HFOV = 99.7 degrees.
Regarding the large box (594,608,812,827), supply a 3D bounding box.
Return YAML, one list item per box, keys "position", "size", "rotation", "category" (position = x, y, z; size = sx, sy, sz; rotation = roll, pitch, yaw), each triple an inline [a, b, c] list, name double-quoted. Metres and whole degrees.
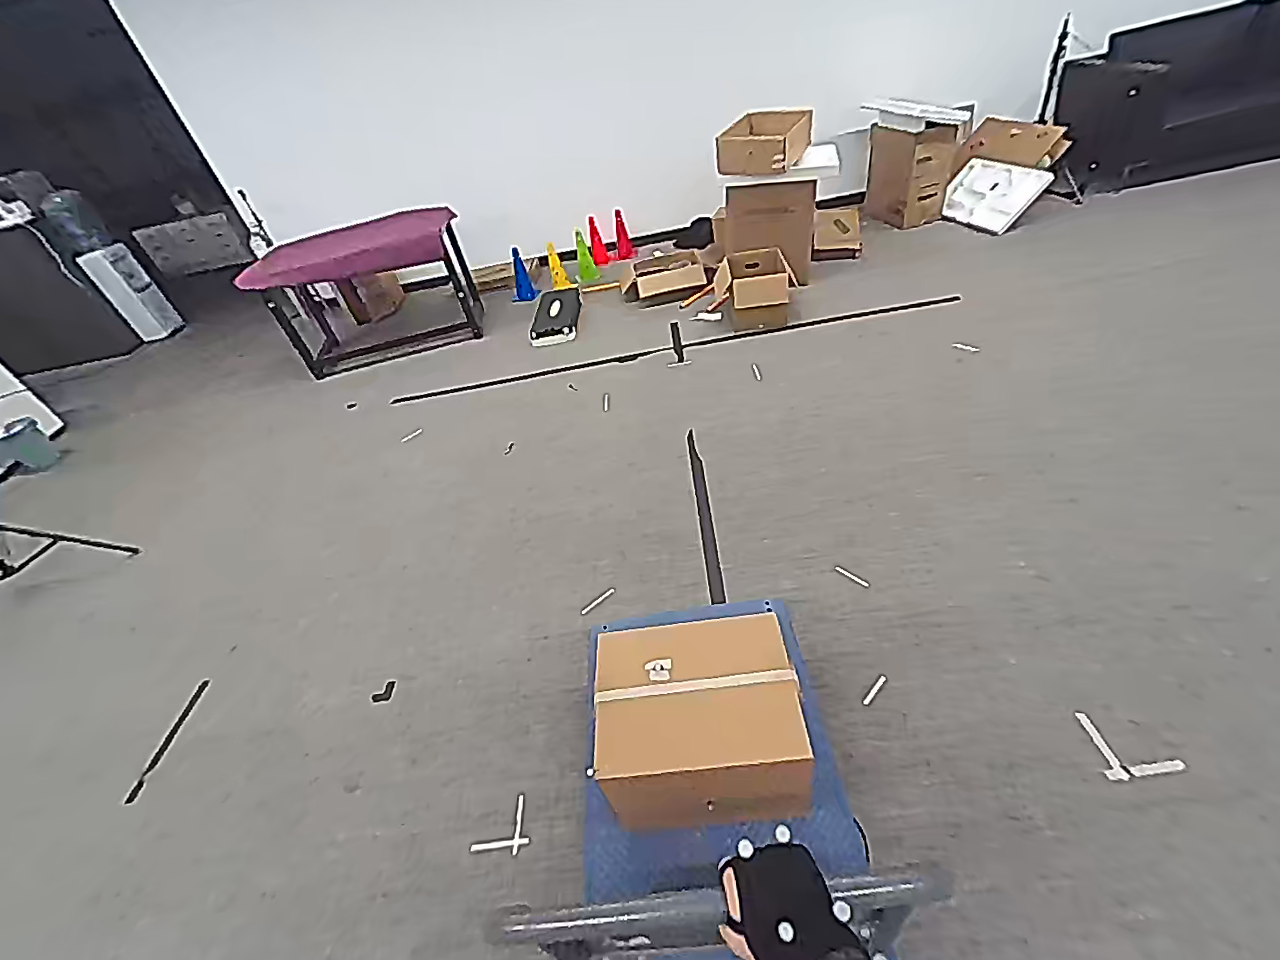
- position: [0.133, 0.523, 1.183]
  size: [0.408, 0.320, 0.320]
  rotation: [-10, 40, 6]
  category: "large box"
